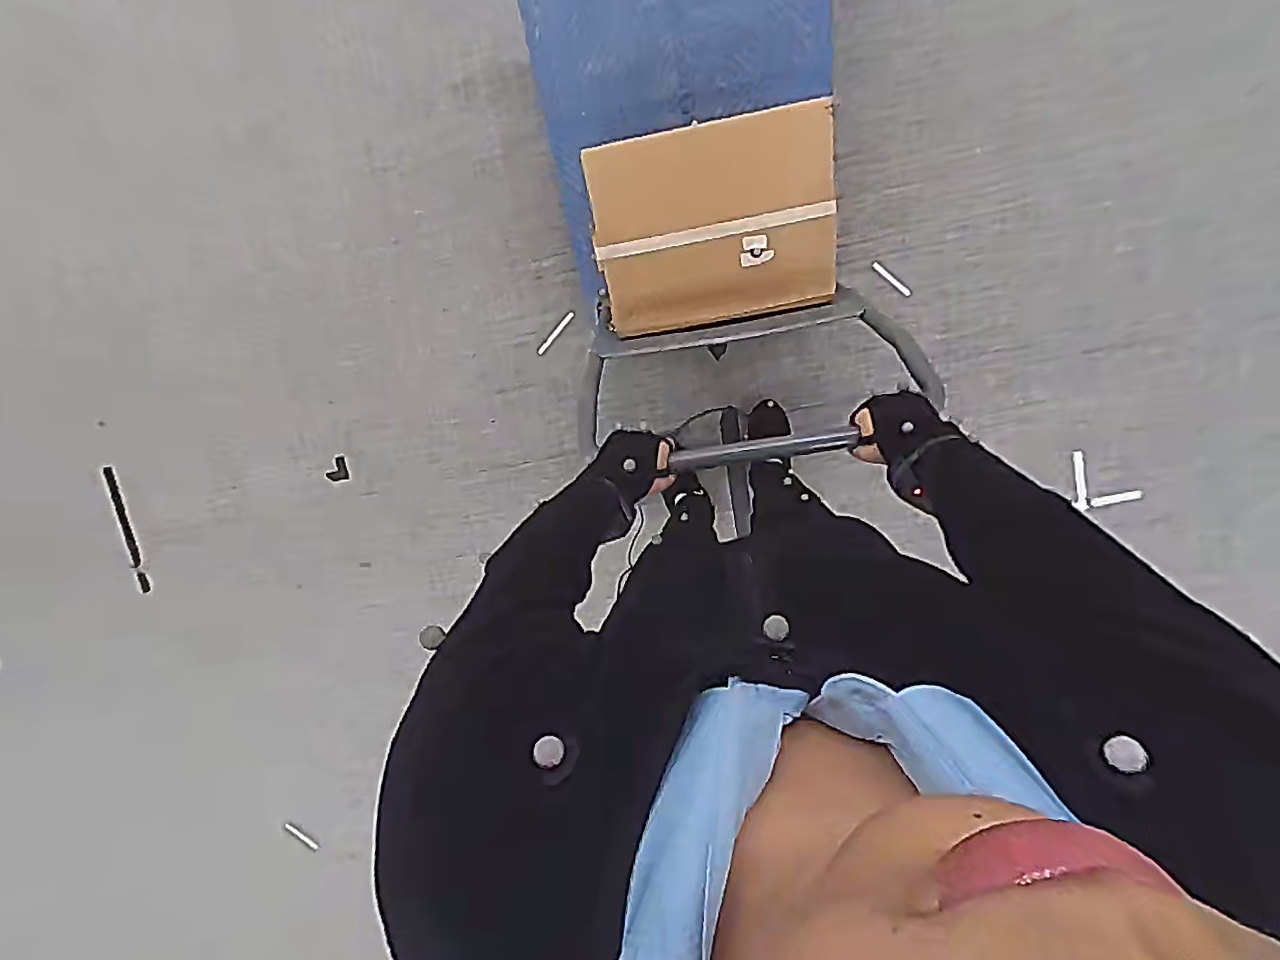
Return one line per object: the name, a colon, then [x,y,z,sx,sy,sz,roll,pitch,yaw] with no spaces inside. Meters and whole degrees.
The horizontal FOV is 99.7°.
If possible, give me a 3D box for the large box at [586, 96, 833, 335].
large box: [0.131,-0.512,1.073,0.408,0.320,0.320,-9,120,5]
